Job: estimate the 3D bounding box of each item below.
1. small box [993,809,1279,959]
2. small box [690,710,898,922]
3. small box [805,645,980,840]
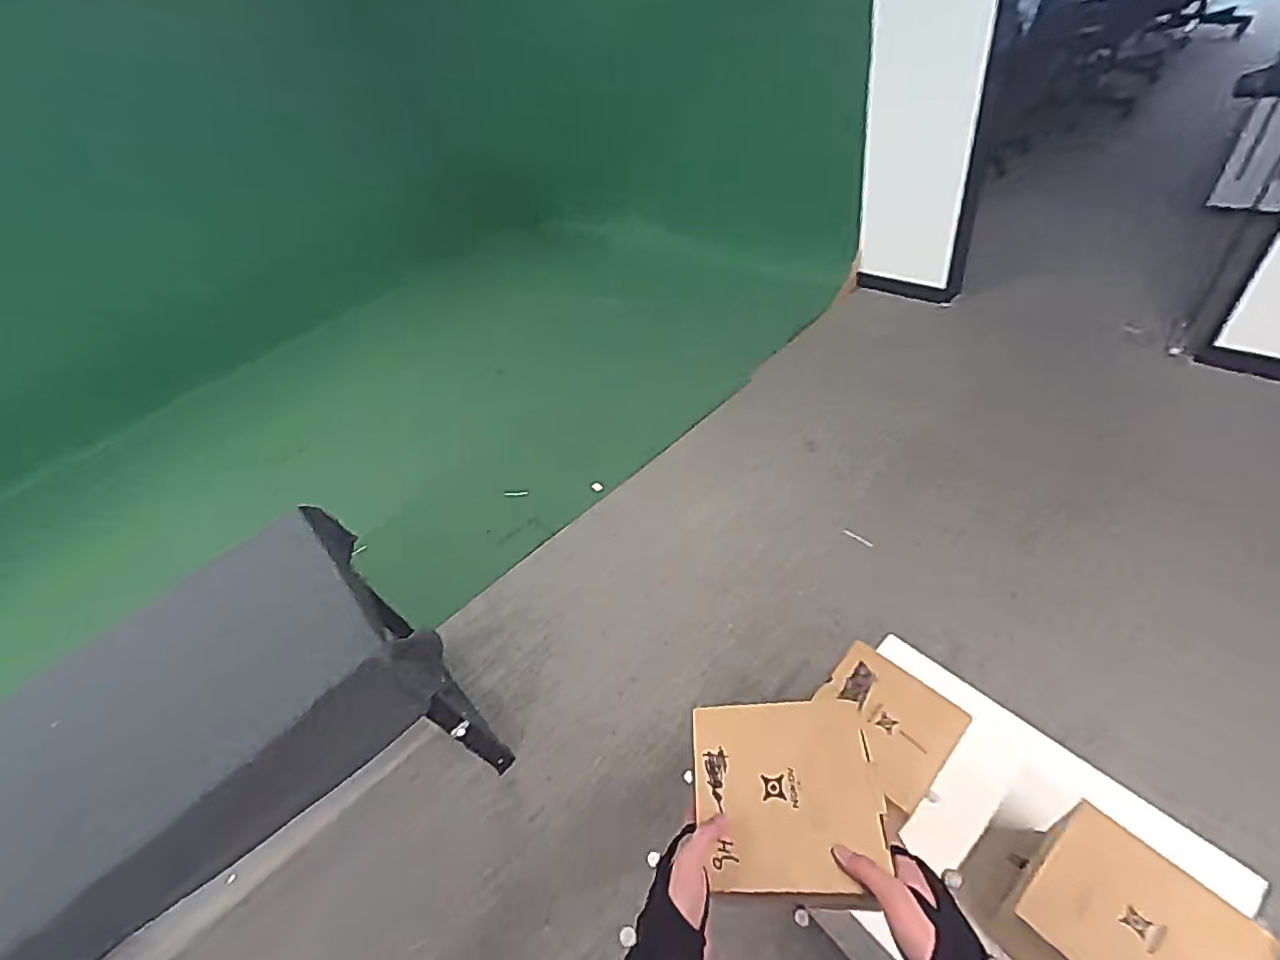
[{"bbox_3d":[0.540,0.522,0.607,0.168,0.176,0.179,-37,45,-20],"label":"small box"},{"bbox_3d":[0.153,0.360,0.579,0.179,0.176,0.168,-8,47,11],"label":"small box"},{"bbox_3d":[0.354,0.387,0.797,0.168,0.176,0.179,-40,50,-21],"label":"small box"}]
